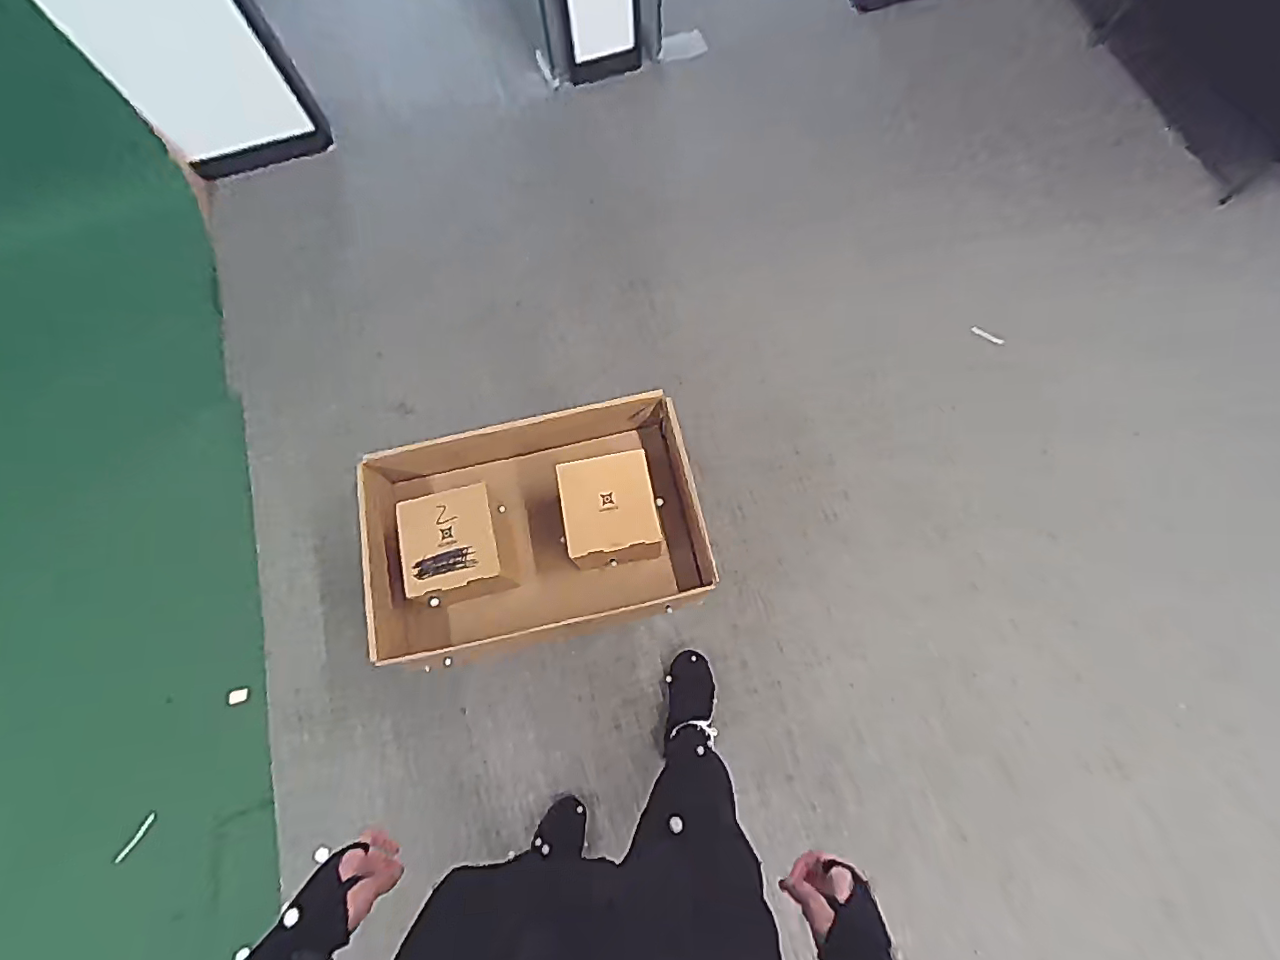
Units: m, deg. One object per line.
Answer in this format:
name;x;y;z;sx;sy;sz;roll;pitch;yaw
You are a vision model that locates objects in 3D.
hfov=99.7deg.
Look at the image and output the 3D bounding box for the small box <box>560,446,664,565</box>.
small box;-0.051;0.054;1.036;0.168;0.176;0.179;-11;73;-2
